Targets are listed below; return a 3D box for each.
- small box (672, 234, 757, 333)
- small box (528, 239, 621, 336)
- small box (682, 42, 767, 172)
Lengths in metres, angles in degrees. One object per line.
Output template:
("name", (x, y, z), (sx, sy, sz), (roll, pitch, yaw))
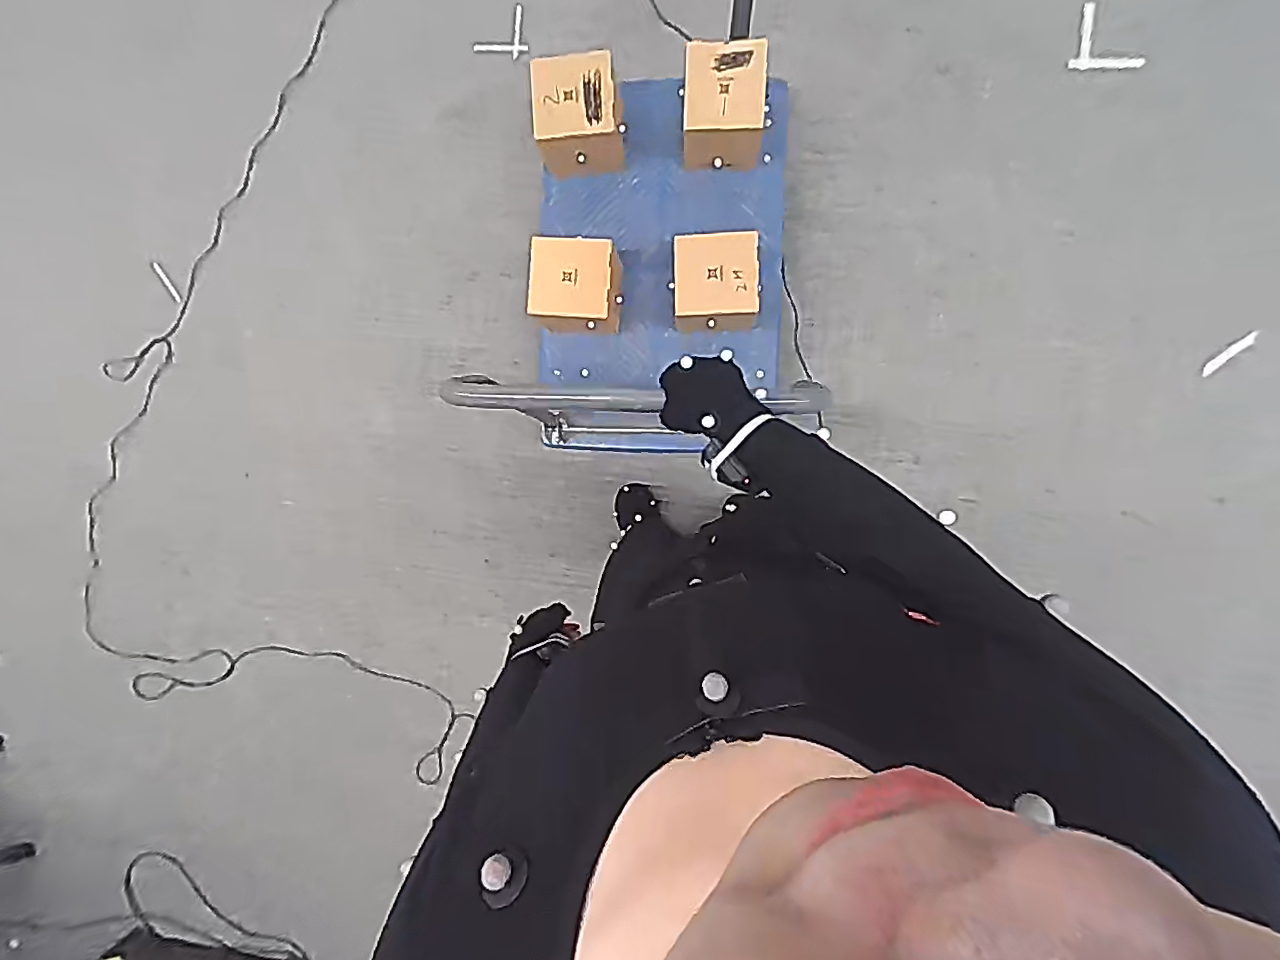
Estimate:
("small box", (0.164, -0.427, 1.200), (0.179, 0.176, 0.168), (-1, 93, 6))
("small box", (-0.144, -0.429, 1.229), (0.179, 0.176, 0.168), (4, 93, 4))
("small box", (0.178, -0.803, 1.179), (0.168, 0.176, 0.179), (2, 94, 6))
